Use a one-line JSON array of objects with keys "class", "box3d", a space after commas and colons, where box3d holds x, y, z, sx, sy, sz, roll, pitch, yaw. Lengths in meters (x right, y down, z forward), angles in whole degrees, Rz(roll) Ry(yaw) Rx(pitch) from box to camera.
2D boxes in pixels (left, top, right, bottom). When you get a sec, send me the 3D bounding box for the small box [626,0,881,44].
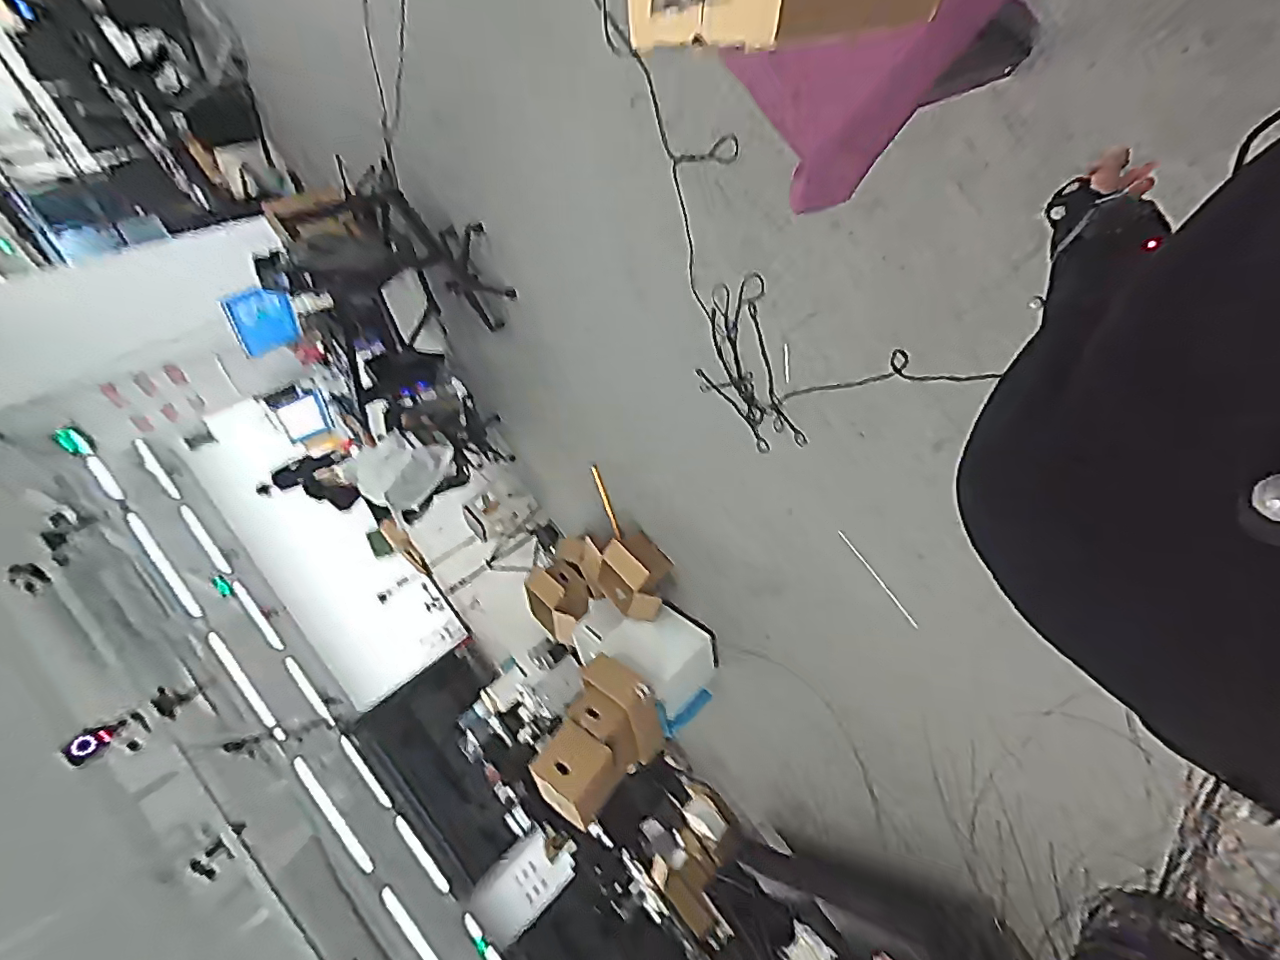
[{"class": "small box", "box3d": [0.100, -0.472, 0.436, 0.168, 0.176, 0.179, 33, 142, 34]}]
